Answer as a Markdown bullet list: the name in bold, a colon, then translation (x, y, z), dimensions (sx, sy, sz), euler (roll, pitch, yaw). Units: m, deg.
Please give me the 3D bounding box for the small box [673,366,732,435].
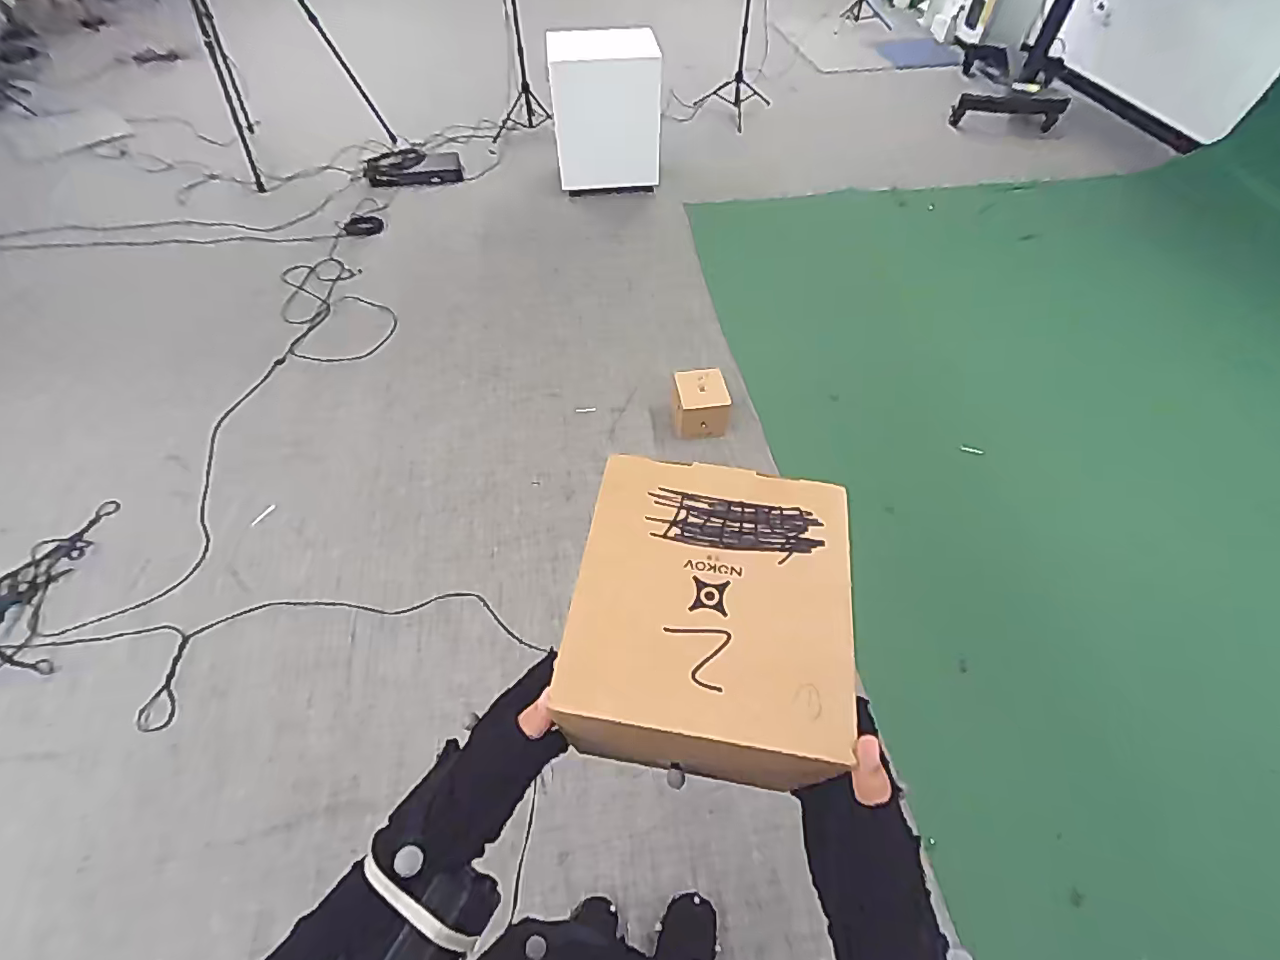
- **small box**: translation (0.212, -0.270, 1.880), dimensions (0.168, 0.176, 0.179), euler (-7, 55, -6)
